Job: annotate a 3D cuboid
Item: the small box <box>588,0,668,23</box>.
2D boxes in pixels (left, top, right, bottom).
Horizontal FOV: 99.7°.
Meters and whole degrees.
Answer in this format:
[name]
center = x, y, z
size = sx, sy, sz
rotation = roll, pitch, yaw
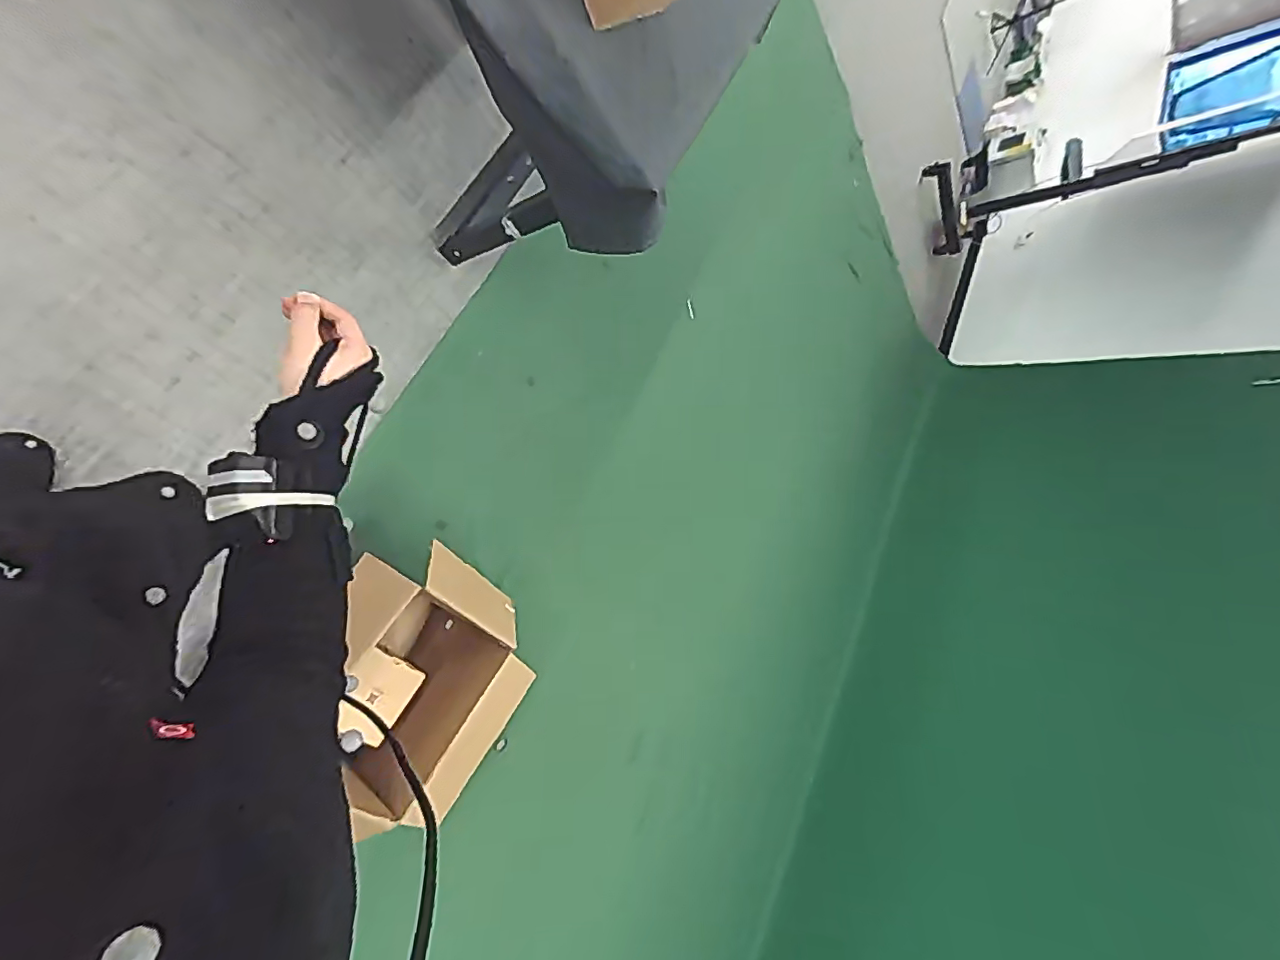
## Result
[small box]
center = 0.009, -0.769, 0.738
size = 0.179, 0.176, 0.168
rotation = -49, 127, -32
